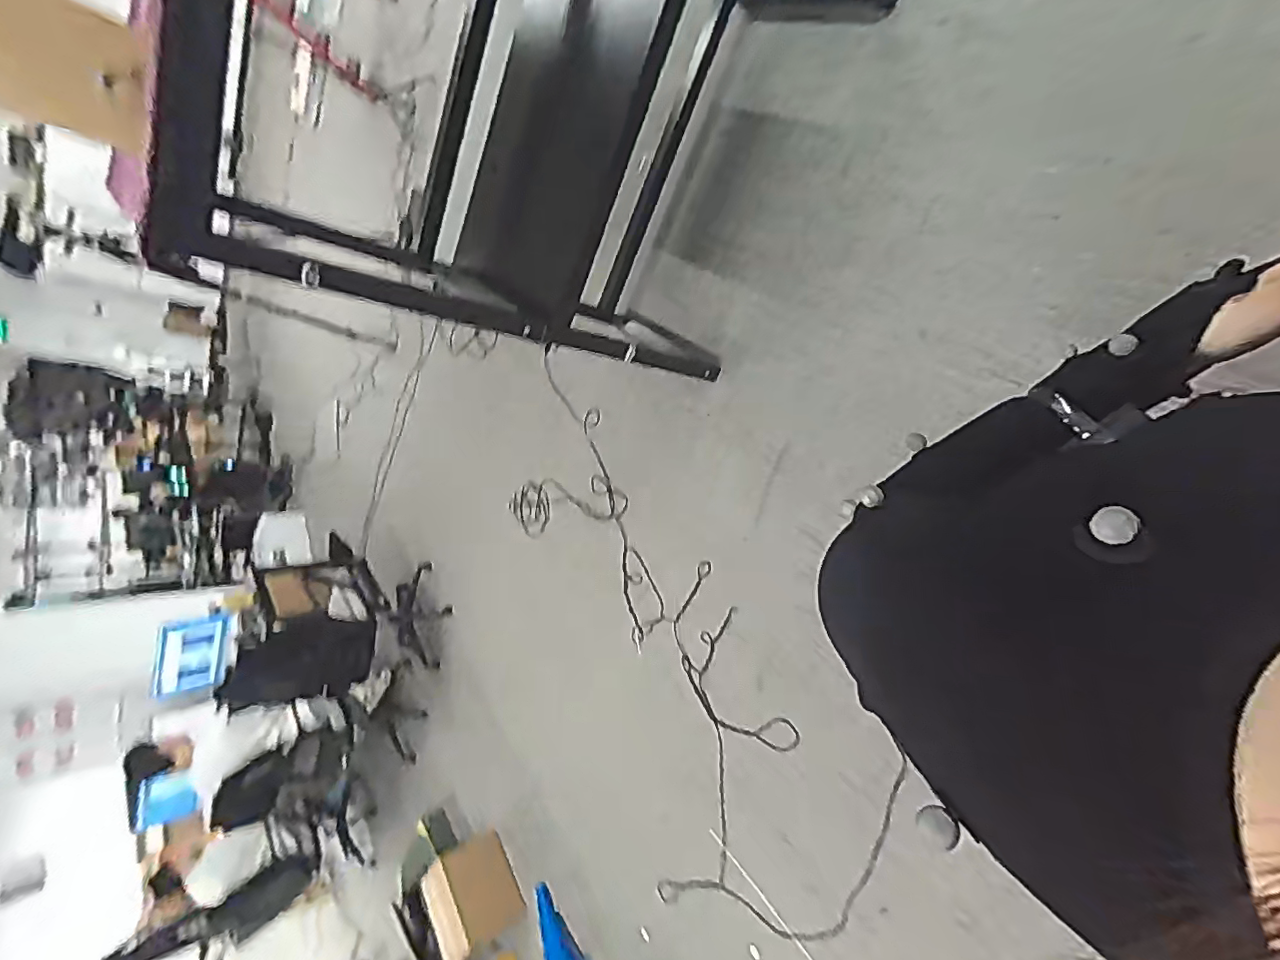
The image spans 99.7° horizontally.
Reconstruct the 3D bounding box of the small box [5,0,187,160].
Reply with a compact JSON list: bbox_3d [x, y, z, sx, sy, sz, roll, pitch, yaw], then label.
[{"bbox_3d":[-0.776,-0.591,0.780,0.179,0.176,0.168,41,118,38],"label":"small box"}]
